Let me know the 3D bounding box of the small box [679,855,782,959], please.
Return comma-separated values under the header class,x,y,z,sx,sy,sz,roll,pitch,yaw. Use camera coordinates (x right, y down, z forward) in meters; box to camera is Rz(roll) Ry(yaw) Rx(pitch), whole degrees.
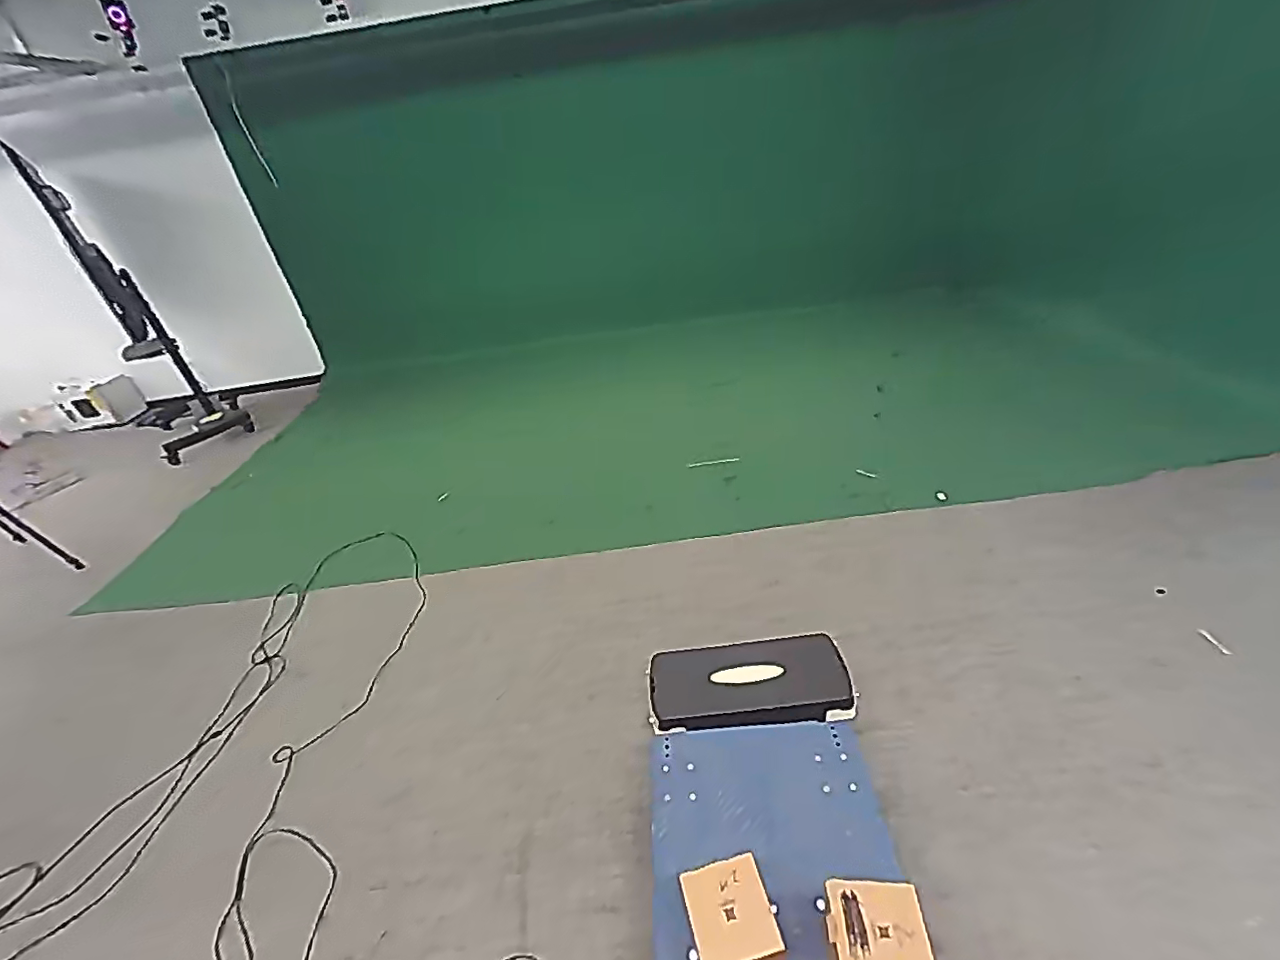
class,x,y,z,sx,sy,sz,roll,pitch,yaw
small box,0.187,0.939,1.134,0.168,0.176,0.179,-12,33,-7
